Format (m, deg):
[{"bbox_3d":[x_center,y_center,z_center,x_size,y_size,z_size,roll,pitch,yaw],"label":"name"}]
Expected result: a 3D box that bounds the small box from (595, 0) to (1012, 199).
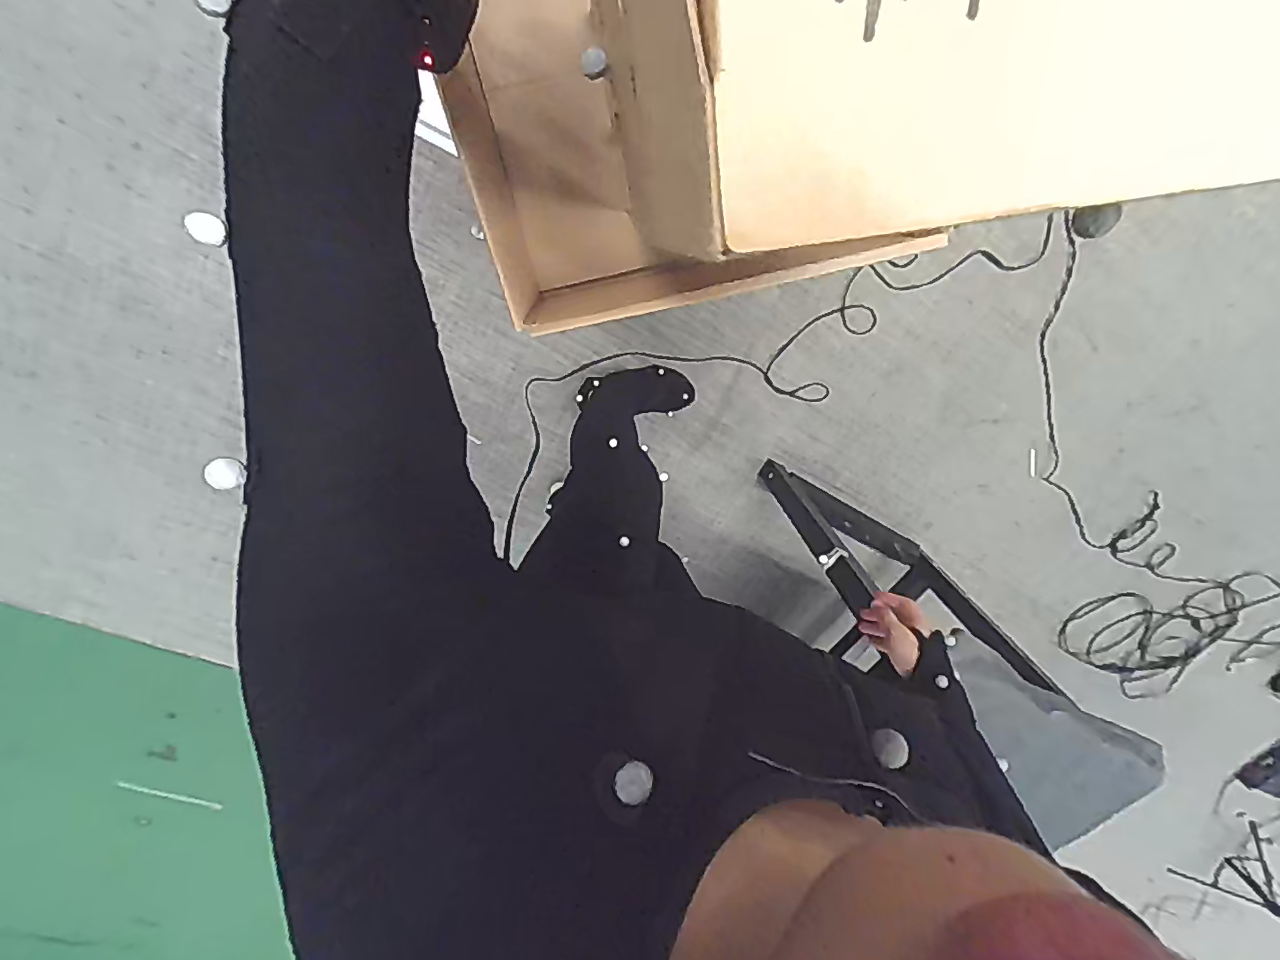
[{"bbox_3d":[0.068,-0.261,0.296,0.179,0.176,0.168,-10,115,2],"label":"small box"}]
